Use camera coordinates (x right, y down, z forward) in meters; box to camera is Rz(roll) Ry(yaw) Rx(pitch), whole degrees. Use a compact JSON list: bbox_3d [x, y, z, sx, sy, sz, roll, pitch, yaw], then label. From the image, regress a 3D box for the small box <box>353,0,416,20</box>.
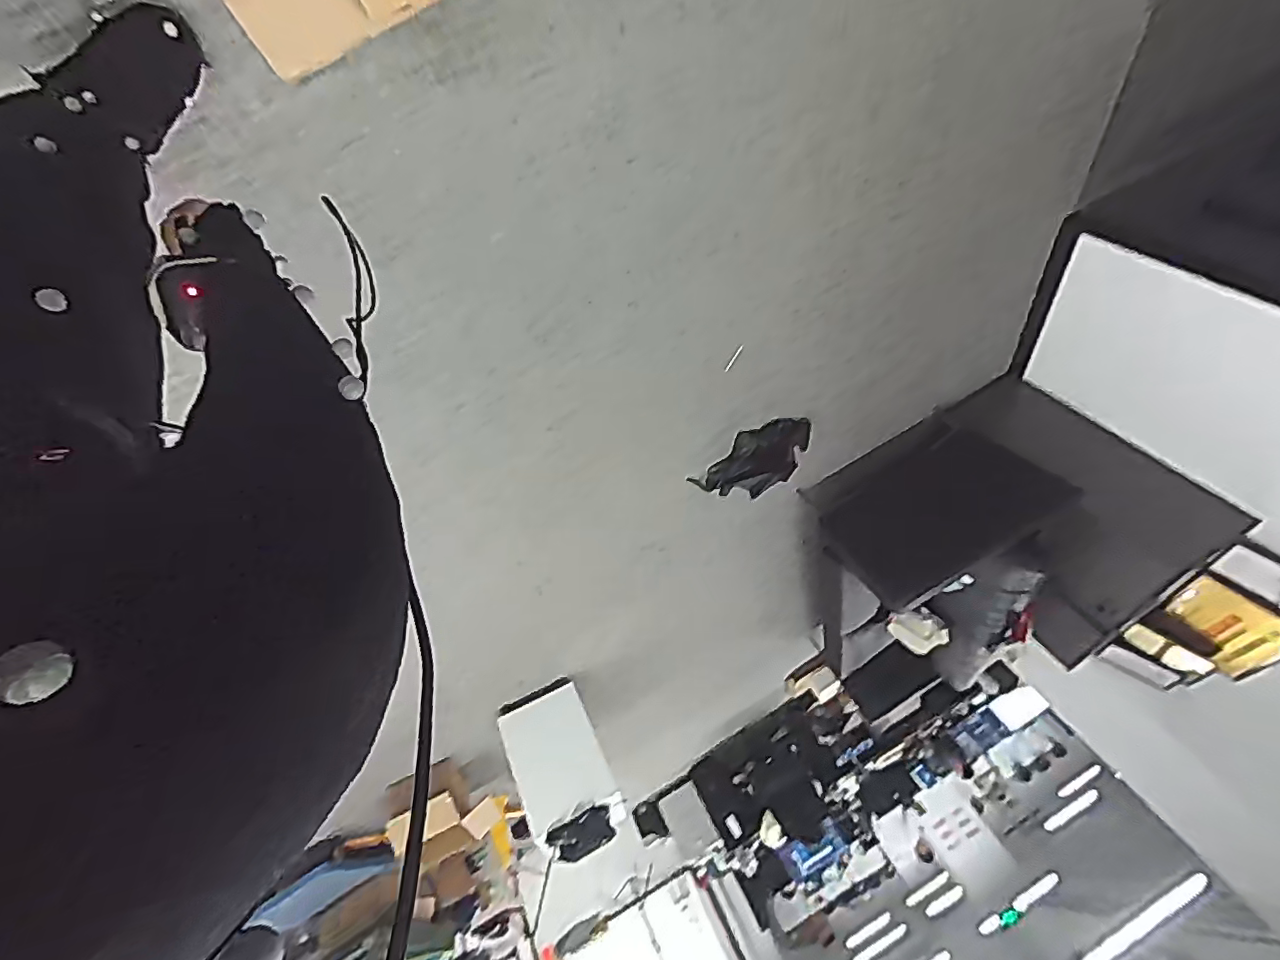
[{"bbox_3d":[-0.365,-0.780,0.742,0.168,0.176,0.179,-31,143,-5],"label":"small box"}]
